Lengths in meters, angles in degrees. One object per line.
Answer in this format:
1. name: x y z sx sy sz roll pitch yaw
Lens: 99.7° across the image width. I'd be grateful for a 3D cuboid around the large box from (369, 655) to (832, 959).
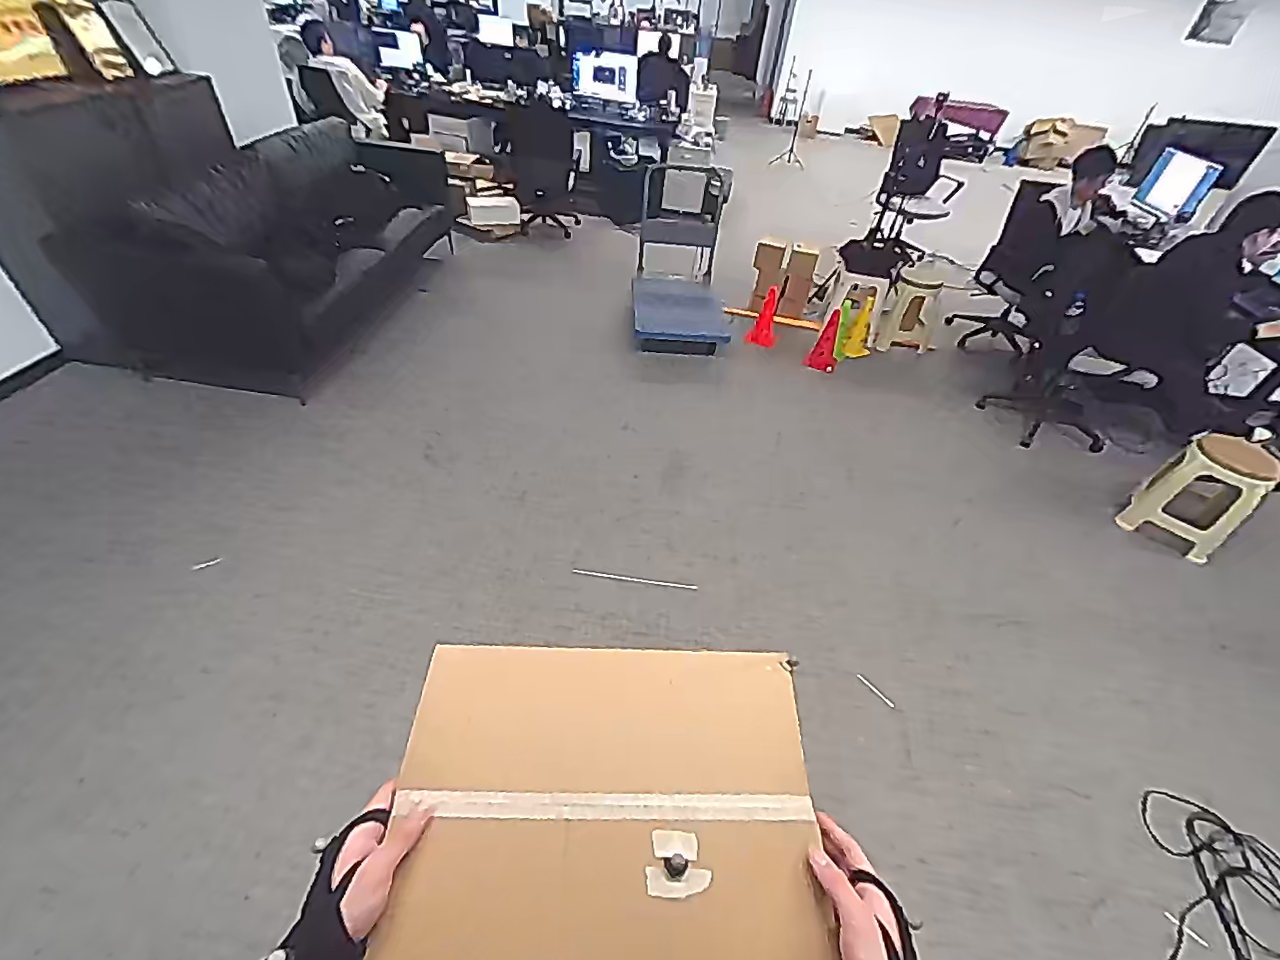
1. large box: -0.040 0.420 0.647 0.408 0.320 0.320 2 51 -2
